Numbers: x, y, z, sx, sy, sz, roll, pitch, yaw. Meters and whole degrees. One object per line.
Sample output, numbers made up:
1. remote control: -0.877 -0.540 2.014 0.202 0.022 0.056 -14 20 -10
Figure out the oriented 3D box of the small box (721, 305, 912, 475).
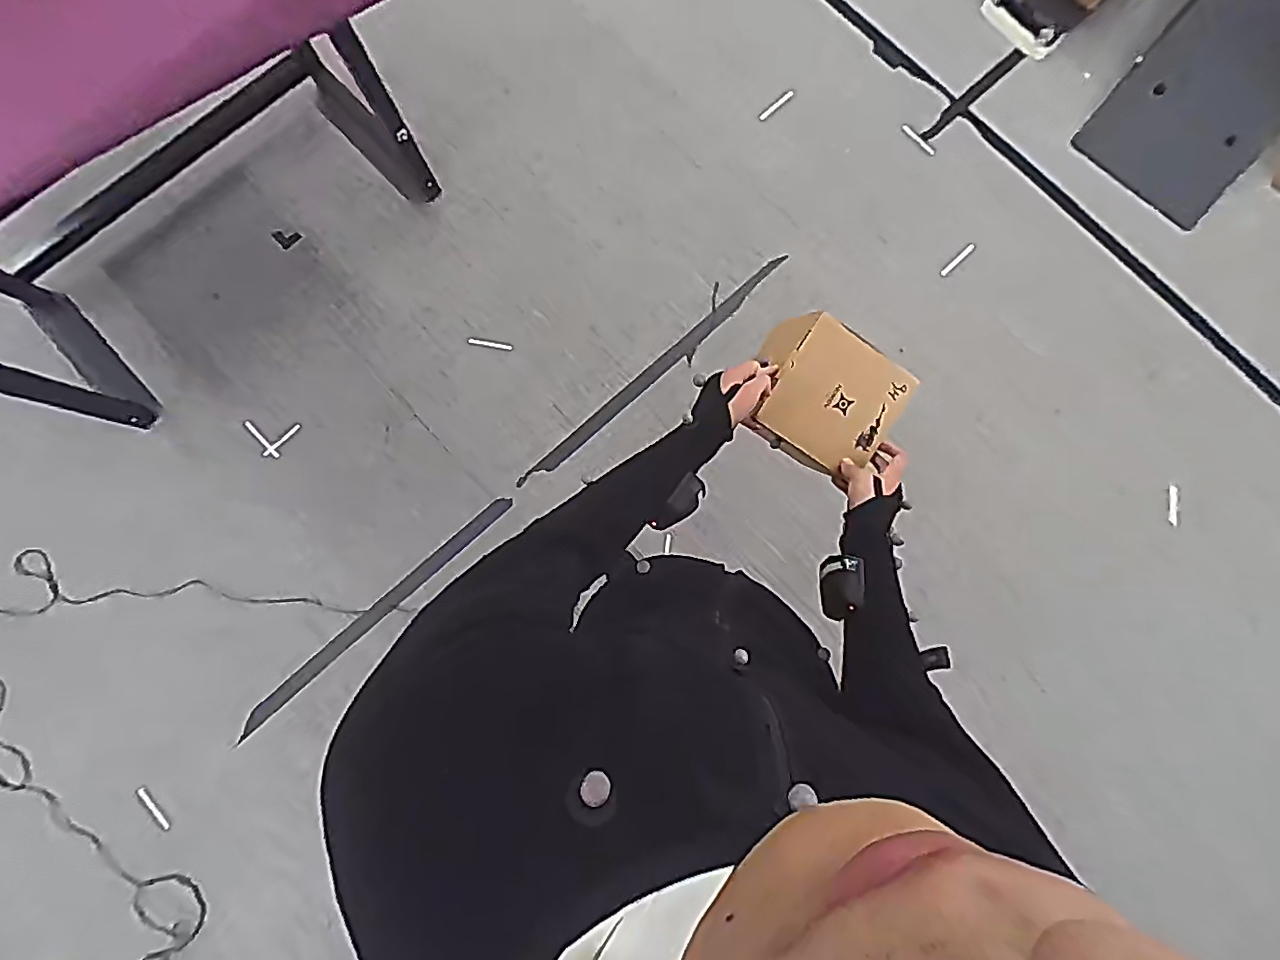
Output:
1. small box: 0.243 -0.128 0.795 0.179 0.176 0.168 31 96 -10
